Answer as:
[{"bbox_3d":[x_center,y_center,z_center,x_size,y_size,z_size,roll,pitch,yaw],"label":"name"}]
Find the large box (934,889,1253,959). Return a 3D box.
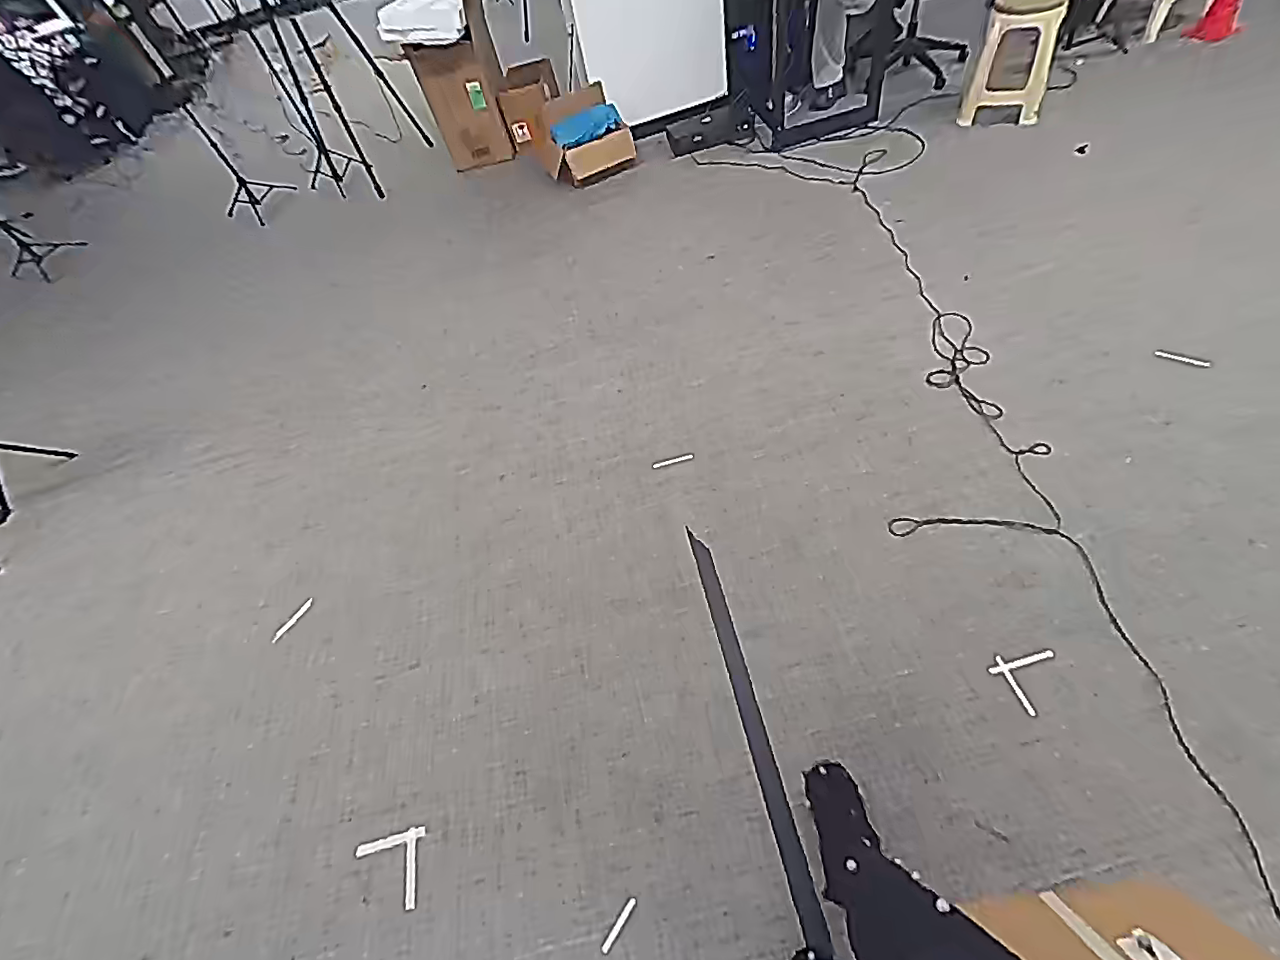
[{"bbox_3d":[0.583,0.719,0.557,0.320,0.408,0.320,-11,77,6],"label":"large box"}]
